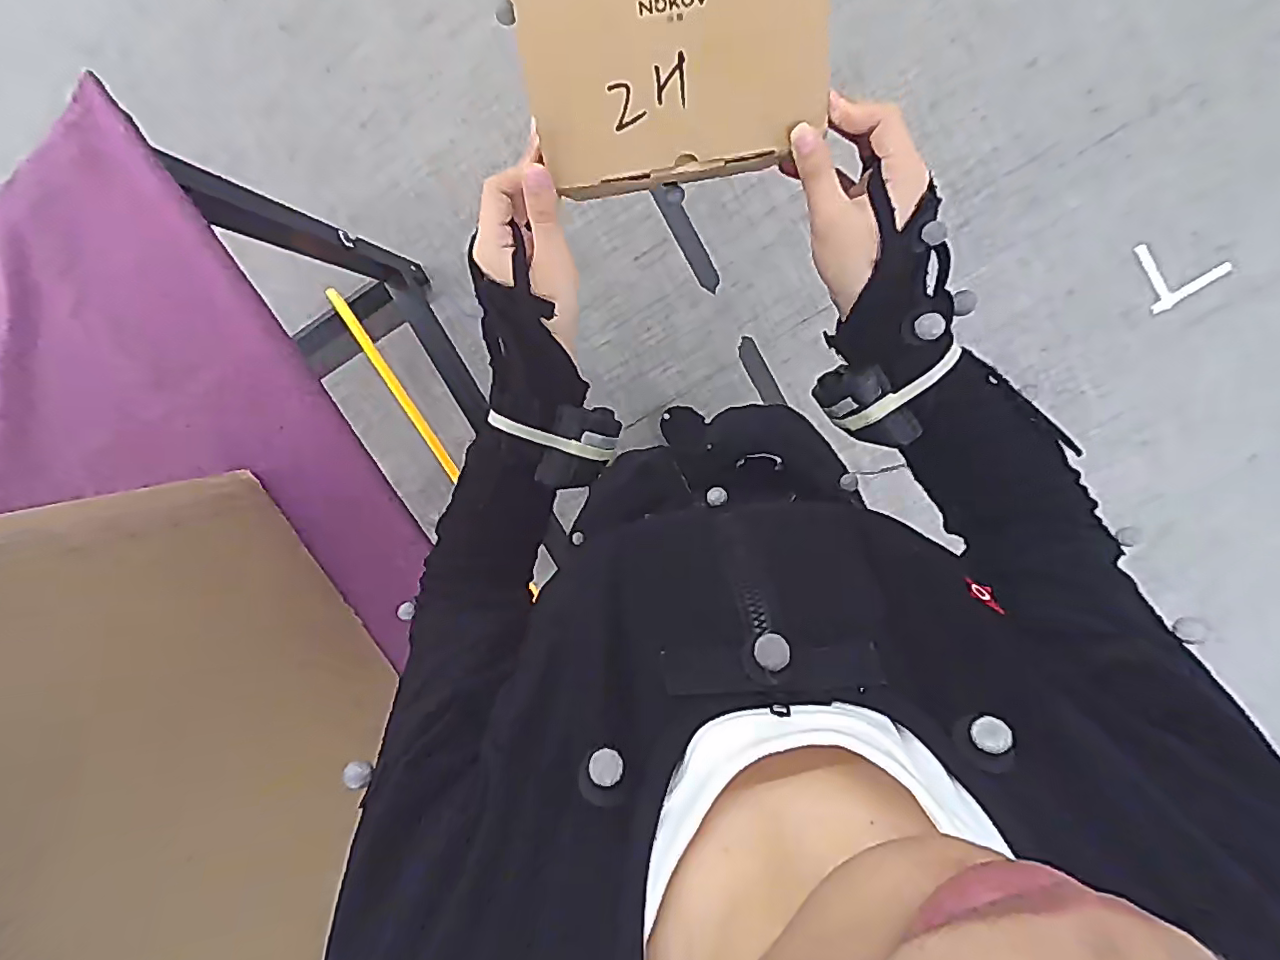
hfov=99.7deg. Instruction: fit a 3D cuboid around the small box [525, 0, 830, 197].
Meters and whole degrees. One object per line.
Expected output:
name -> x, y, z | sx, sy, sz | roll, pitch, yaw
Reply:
small box -> 0.017, -0.299, 0.357 | 0.168, 0.176, 0.179 | -8, 115, 3
